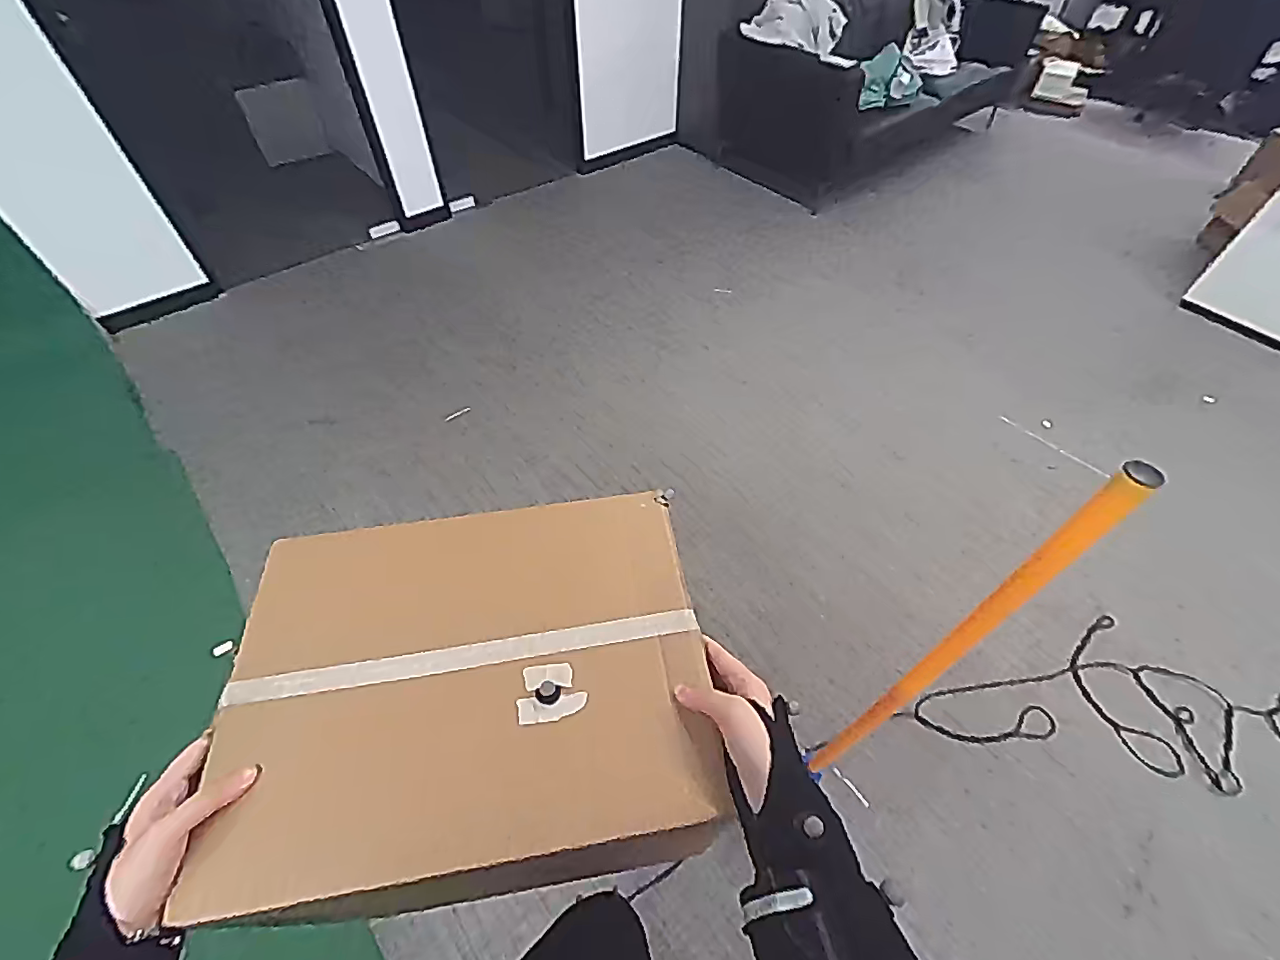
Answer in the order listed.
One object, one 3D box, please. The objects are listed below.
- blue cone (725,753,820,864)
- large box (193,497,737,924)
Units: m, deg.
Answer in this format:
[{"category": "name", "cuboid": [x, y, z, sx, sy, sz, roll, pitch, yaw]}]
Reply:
[{"category": "blue cone", "cuboid": [0.311, 0.673, 1.164, 0.192, 0.380, 0.193, -25, 55, -19]}, {"category": "large box", "cuboid": [-0.148, 0.254, 0.605, 0.408, 0.320, 0.320, -7, 52, -8]}]
